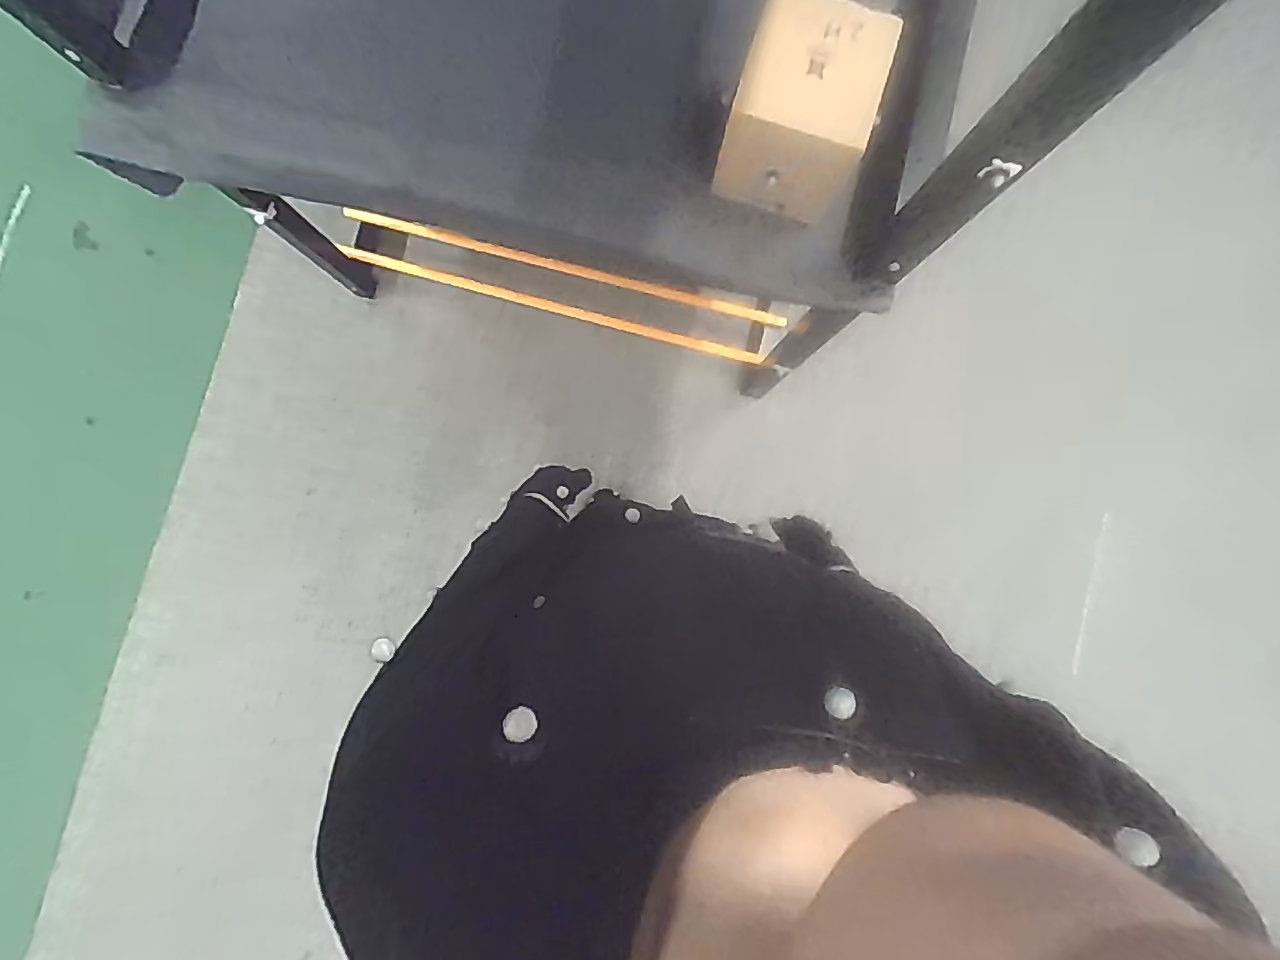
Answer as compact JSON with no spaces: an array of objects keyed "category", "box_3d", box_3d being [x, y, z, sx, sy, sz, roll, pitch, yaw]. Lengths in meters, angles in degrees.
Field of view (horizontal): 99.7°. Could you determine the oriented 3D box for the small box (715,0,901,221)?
[{"category":"small box","box_3d":[0.207,-0.481,0.717,0.168,0.176,0.179,18,86,0]}]
